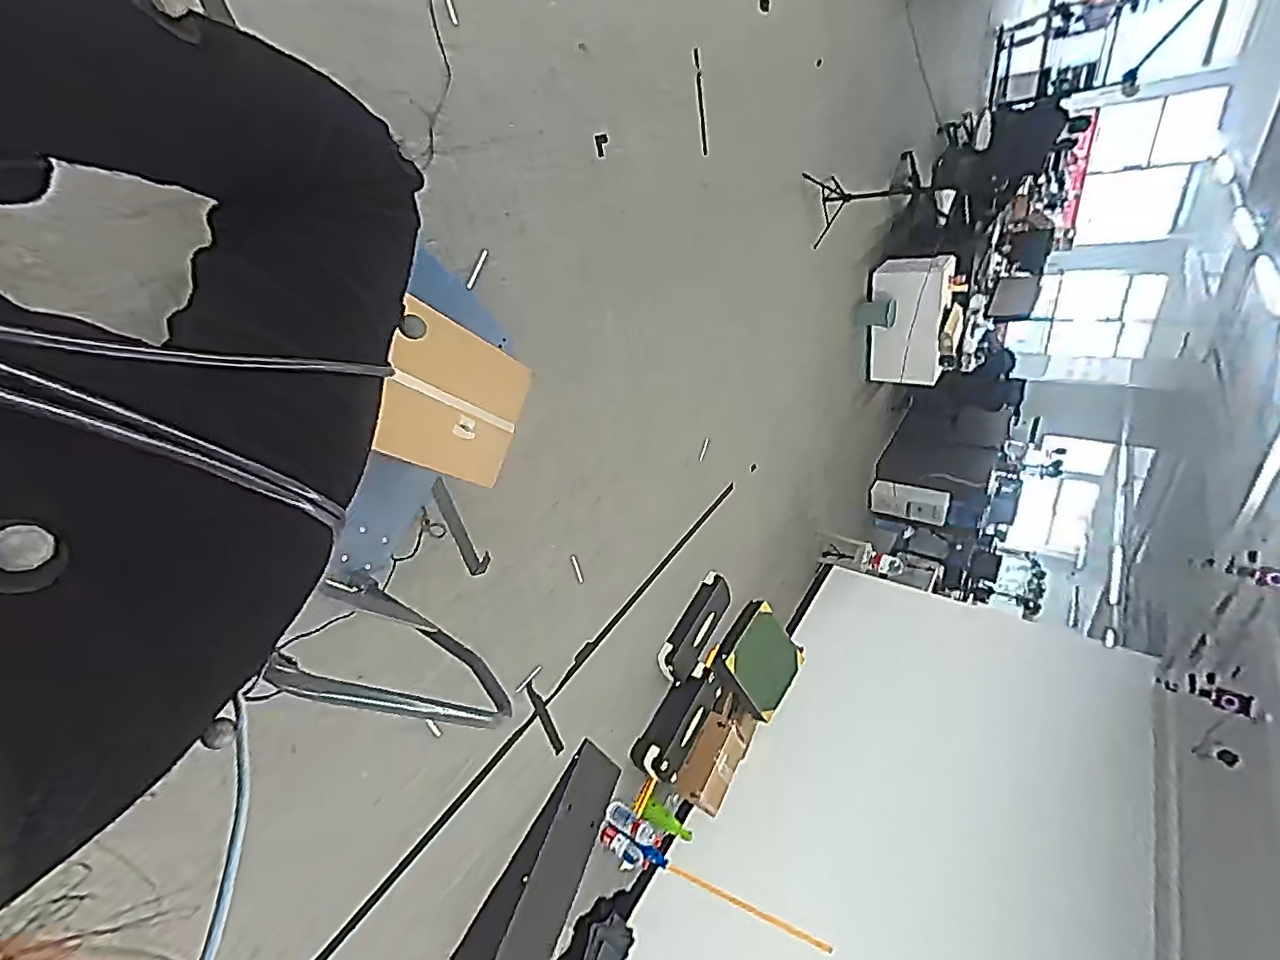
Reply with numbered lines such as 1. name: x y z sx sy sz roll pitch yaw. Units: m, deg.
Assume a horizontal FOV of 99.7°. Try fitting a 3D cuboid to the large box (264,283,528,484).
1. large box: -0.543 -0.209 1.241 0.408 0.320 0.320 27 80 -54
